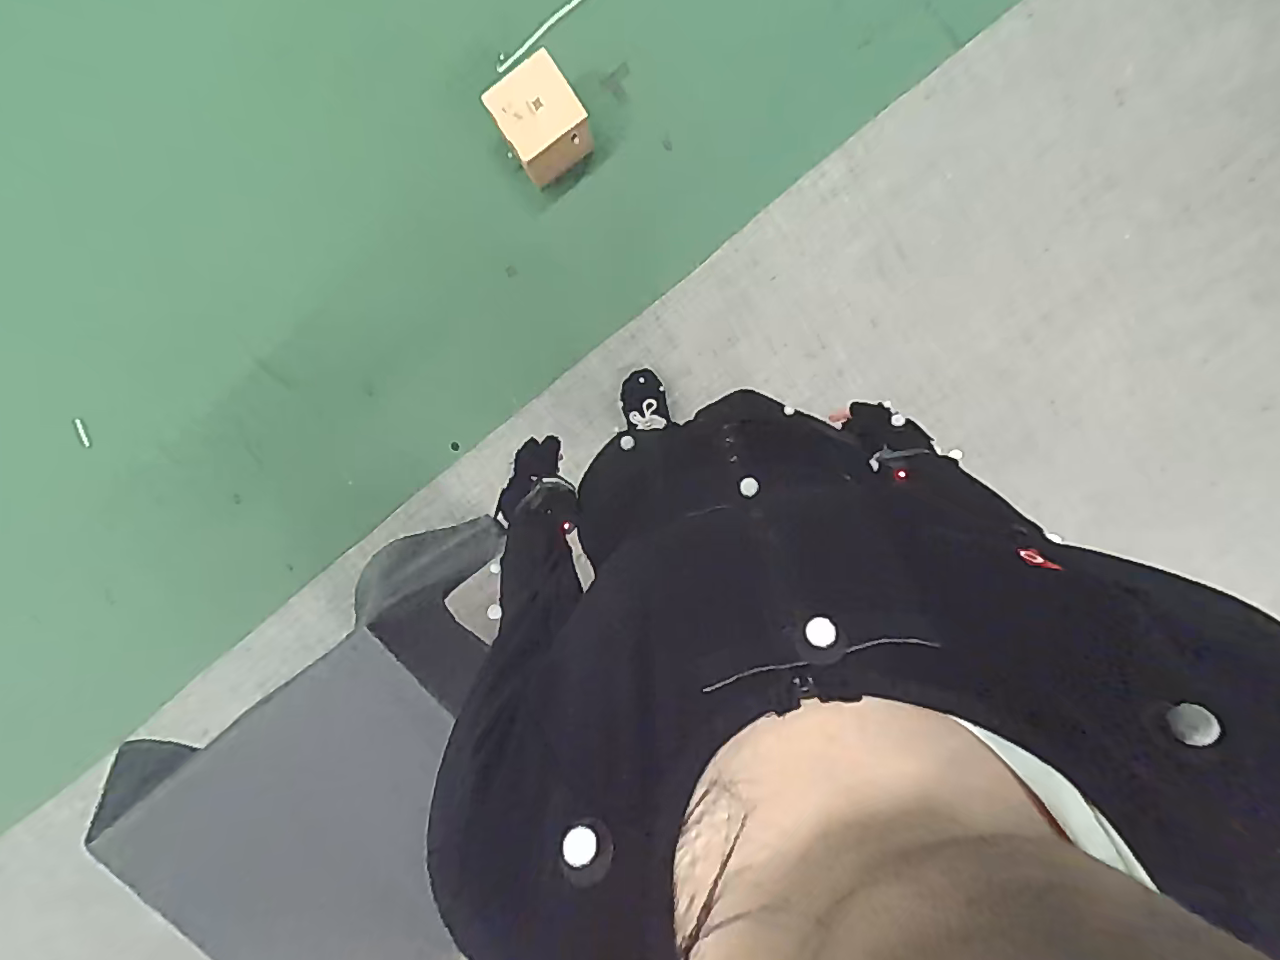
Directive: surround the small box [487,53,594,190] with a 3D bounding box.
[{"bbox_3d":[-0.220,-0.821,1.258,0.179,0.176,0.168,-34,97,6],"label":"small box"}]
